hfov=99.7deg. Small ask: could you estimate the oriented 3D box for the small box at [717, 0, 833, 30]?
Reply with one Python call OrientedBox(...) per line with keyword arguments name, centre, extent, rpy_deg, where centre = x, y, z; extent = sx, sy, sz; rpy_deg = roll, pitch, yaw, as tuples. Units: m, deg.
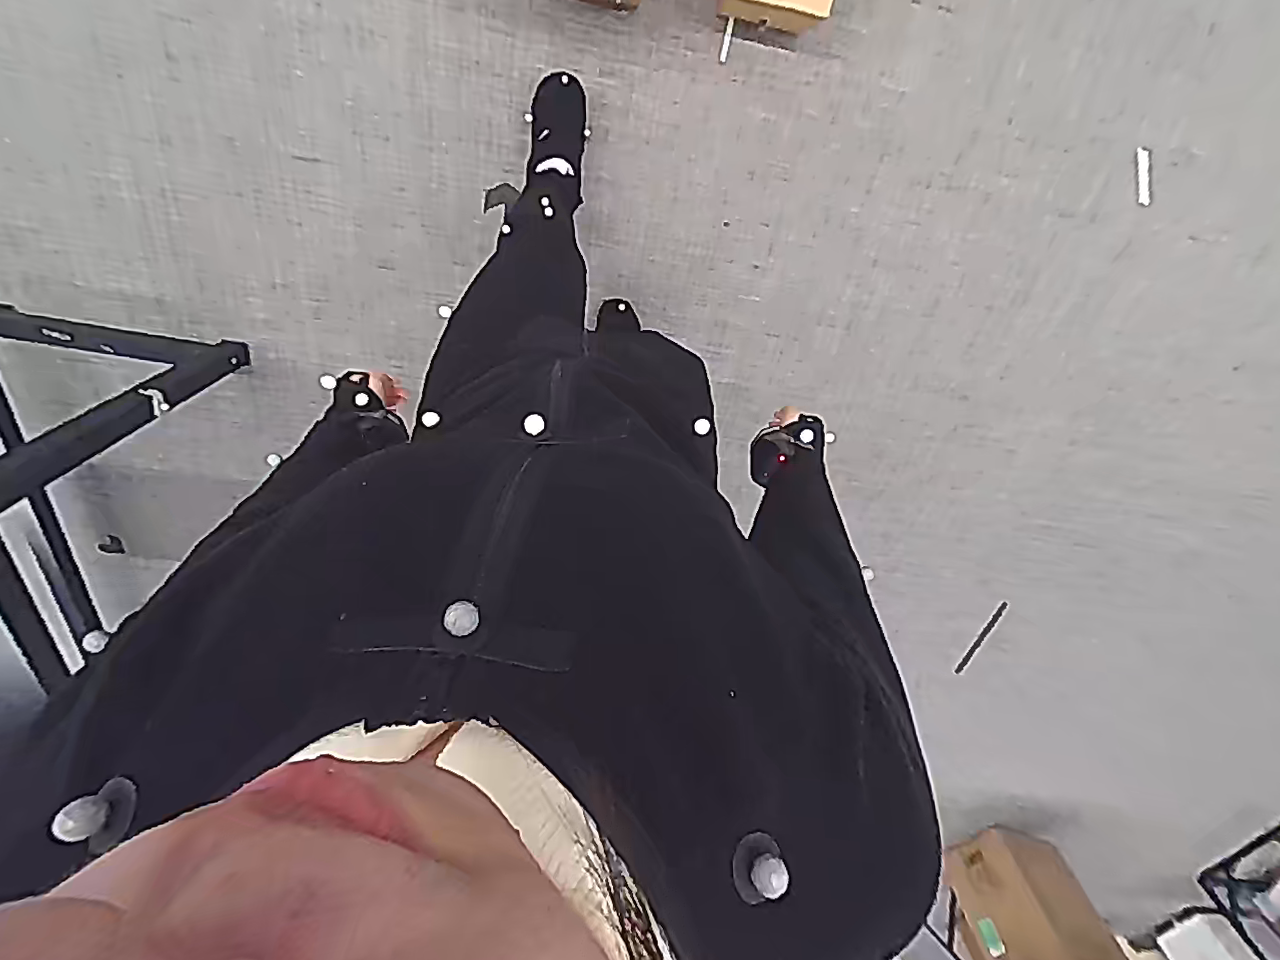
OrientedBox(name="small box", centre=(0.249, -0.916, 0.943), extent=(0.179, 0.176, 0.168), rpy_deg=(7, 121, -8))
